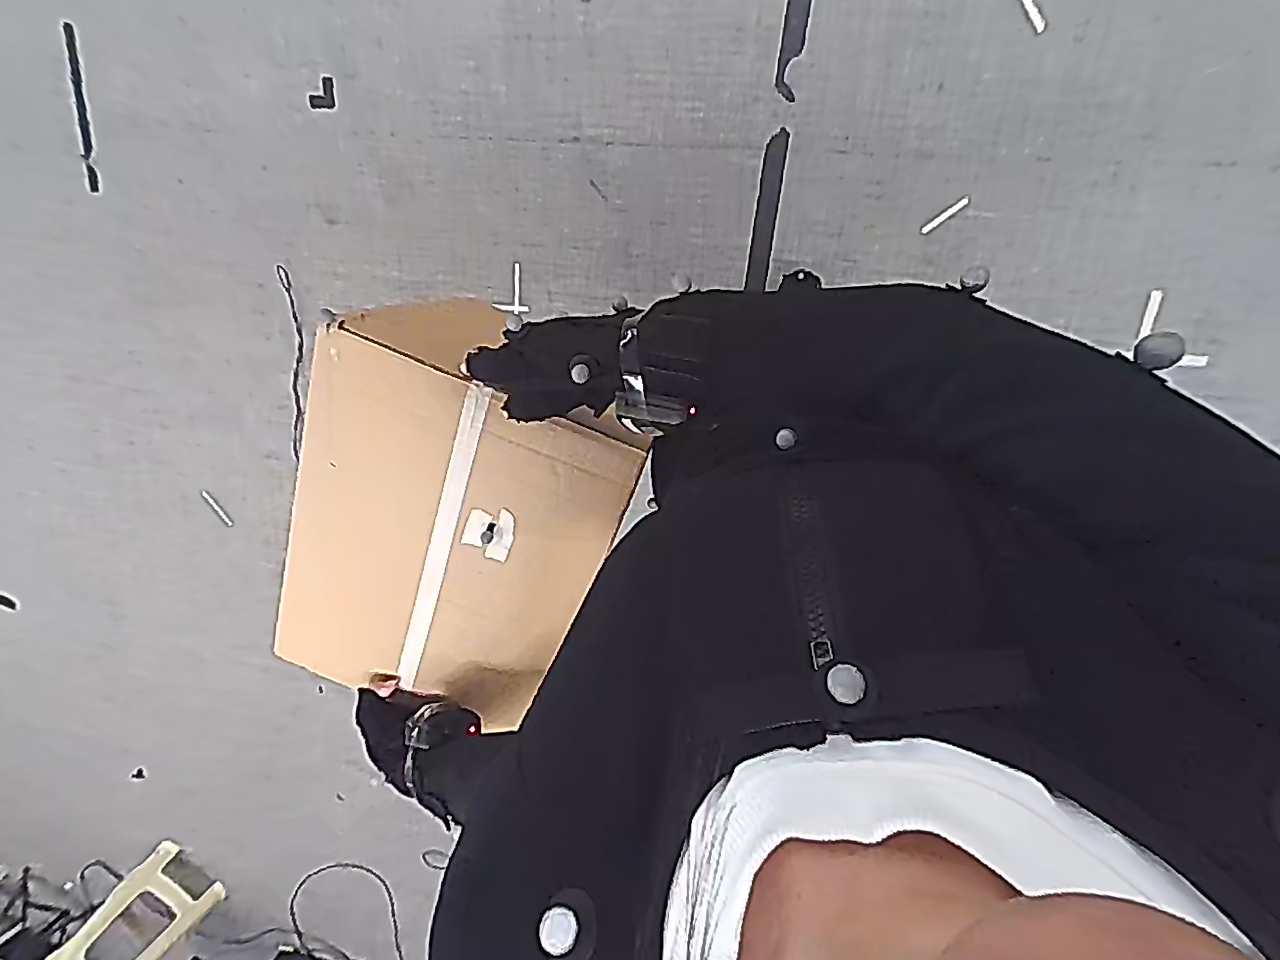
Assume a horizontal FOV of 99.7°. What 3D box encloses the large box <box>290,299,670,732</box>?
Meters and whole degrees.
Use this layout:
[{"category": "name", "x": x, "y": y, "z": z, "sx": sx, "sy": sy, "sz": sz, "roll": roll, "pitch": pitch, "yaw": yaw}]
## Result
[{"category": "large box", "x": -0.182, "y": 0.018, "z": 0.694, "sx": 0.320, "sy": 0.320, "sz": 0.408, "roll": 22, "pitch": 111, "yaw": -1}]
